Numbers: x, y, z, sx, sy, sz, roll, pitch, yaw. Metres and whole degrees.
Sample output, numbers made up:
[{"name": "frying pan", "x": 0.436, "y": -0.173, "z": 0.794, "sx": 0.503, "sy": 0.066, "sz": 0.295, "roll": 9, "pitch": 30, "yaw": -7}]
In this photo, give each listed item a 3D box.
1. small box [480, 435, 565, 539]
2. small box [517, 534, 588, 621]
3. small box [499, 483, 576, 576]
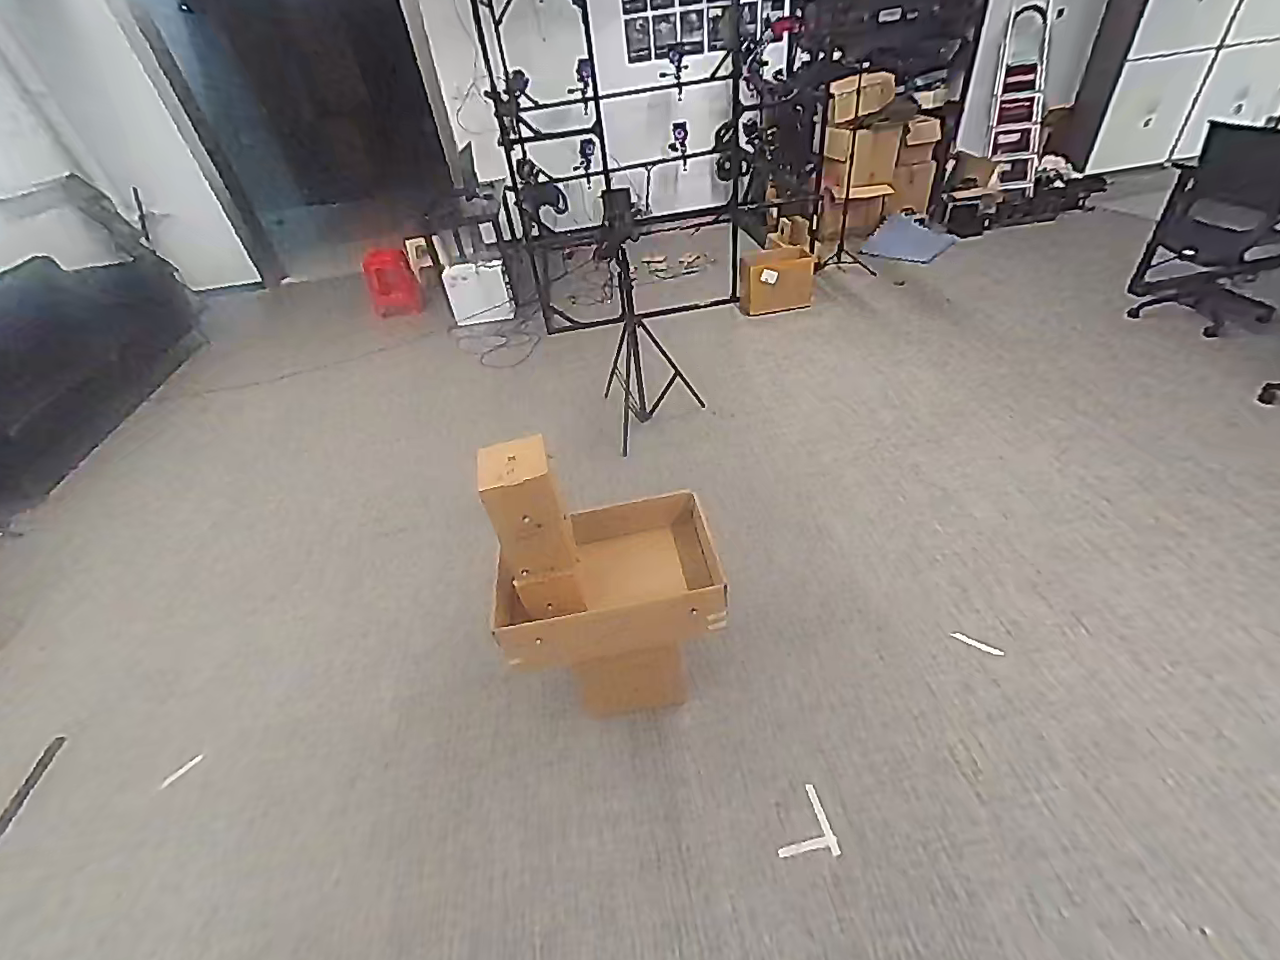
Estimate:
[{"name": "small box", "x": -0.292, "y": 0.018, "z": 1.345, "sx": 0.168, "sy": 0.176, "sz": 0.179, "roll": -15, "pitch": 41, "yaw": -5}, {"name": "small box", "x": -0.250, "y": 0.273, "z": 1.549, "sx": 0.168, "sy": 0.176, "sz": 0.179, "roll": -12, "pitch": 40, "yaw": -2}, {"name": "small box", "x": -0.272, "y": 0.139, "z": 1.455, "sx": 0.168, "sy": 0.176, "sz": 0.179, "roll": -12, "pitch": 39, "yaw": -2}]
